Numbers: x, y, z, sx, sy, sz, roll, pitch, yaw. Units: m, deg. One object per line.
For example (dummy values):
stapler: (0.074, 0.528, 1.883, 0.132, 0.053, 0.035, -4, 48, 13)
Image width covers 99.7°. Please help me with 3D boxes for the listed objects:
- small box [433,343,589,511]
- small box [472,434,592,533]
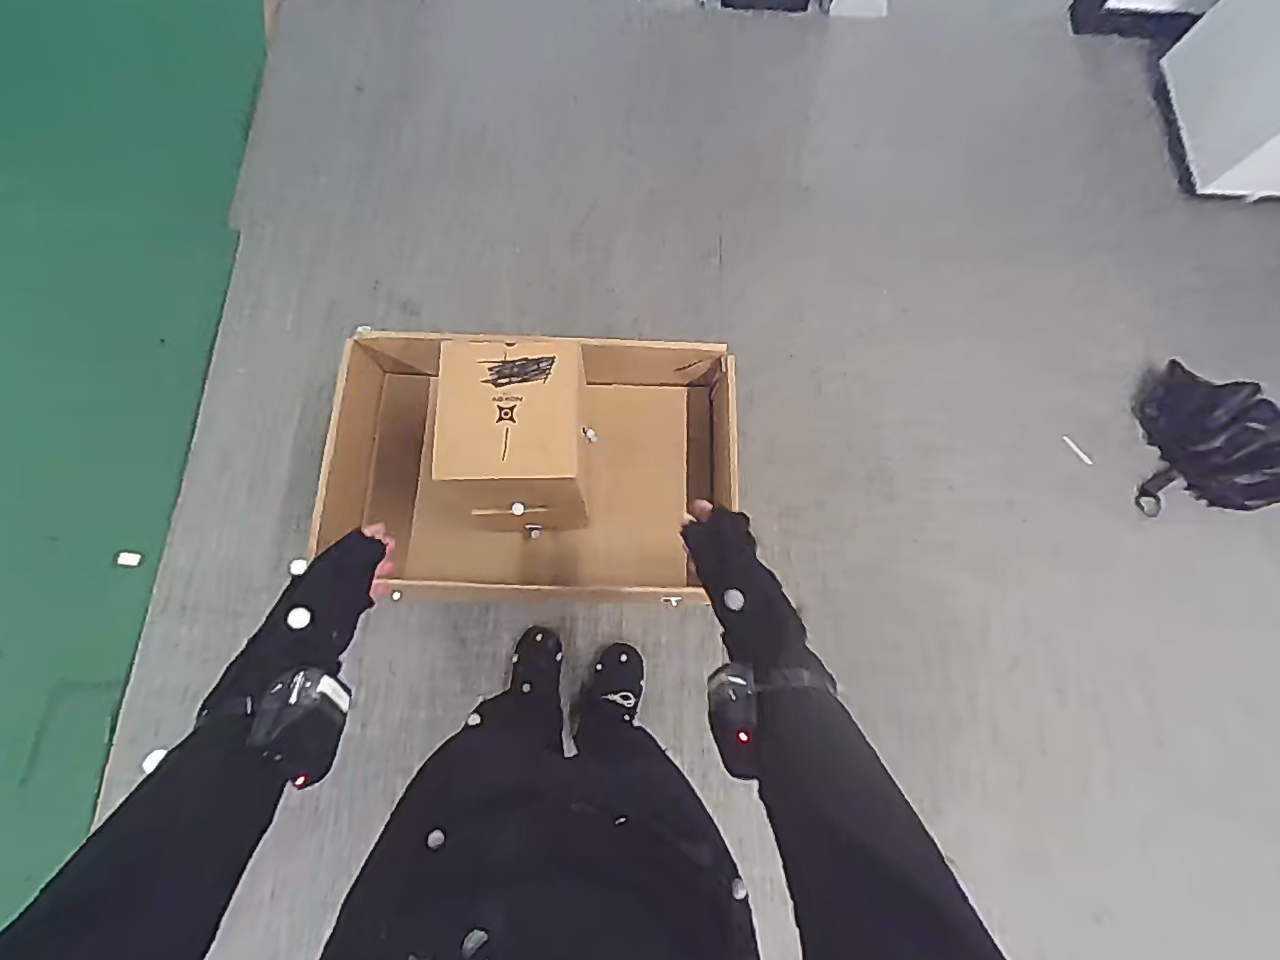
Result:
small box: (-0.157, -0.062, 0.711, 0.168, 0.176, 0.179, -1, 75, -1)
small box: (-0.164, -0.017, 0.868, 0.168, 0.176, 0.179, -3, 76, -2)
